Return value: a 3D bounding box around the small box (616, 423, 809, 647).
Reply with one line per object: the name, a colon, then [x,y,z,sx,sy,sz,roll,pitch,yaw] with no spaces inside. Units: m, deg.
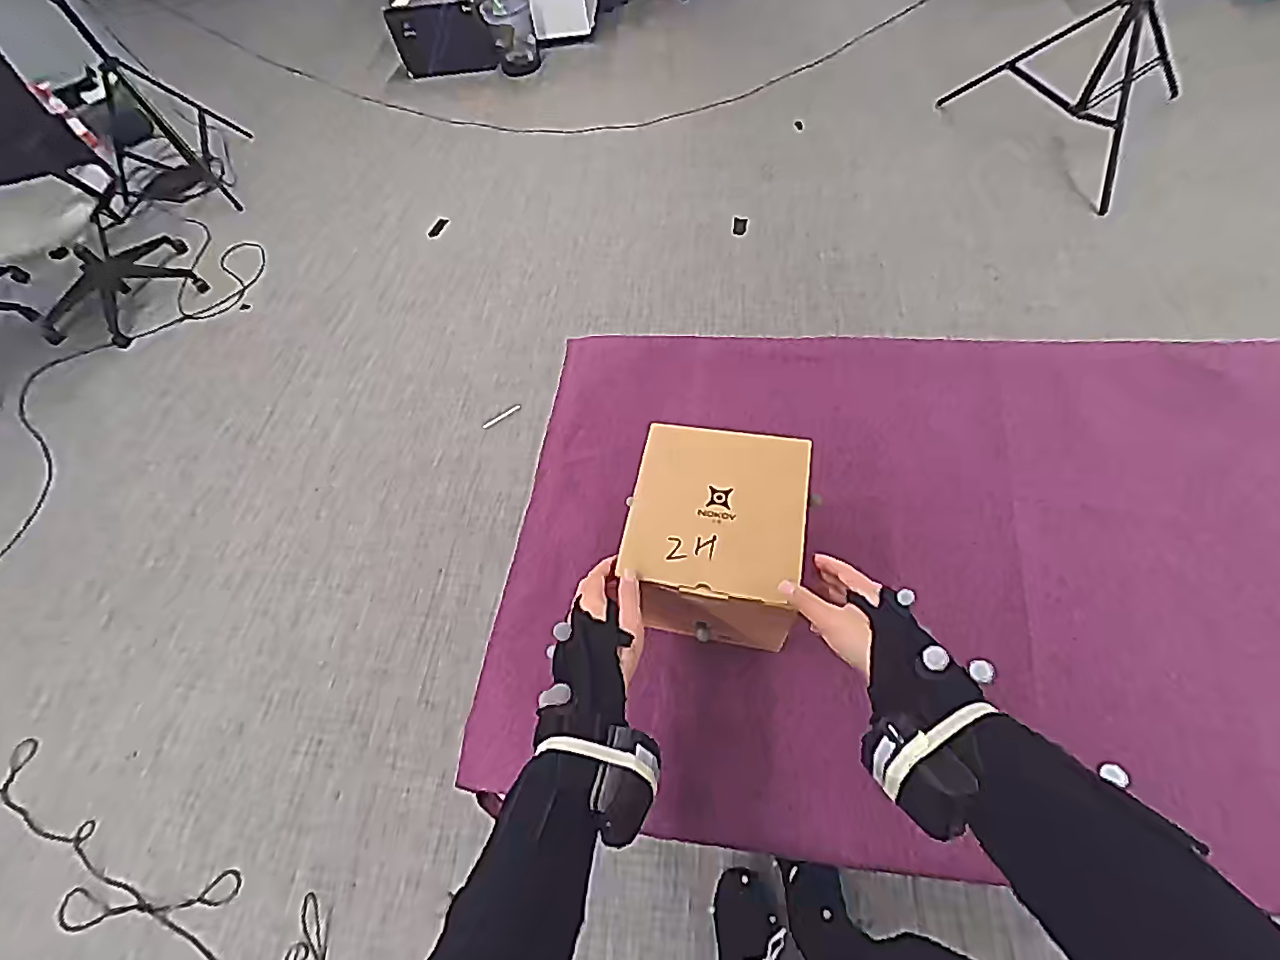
small box: [0.082,0.064,0.590,0.168,0.176,0.179,7,61,12]
